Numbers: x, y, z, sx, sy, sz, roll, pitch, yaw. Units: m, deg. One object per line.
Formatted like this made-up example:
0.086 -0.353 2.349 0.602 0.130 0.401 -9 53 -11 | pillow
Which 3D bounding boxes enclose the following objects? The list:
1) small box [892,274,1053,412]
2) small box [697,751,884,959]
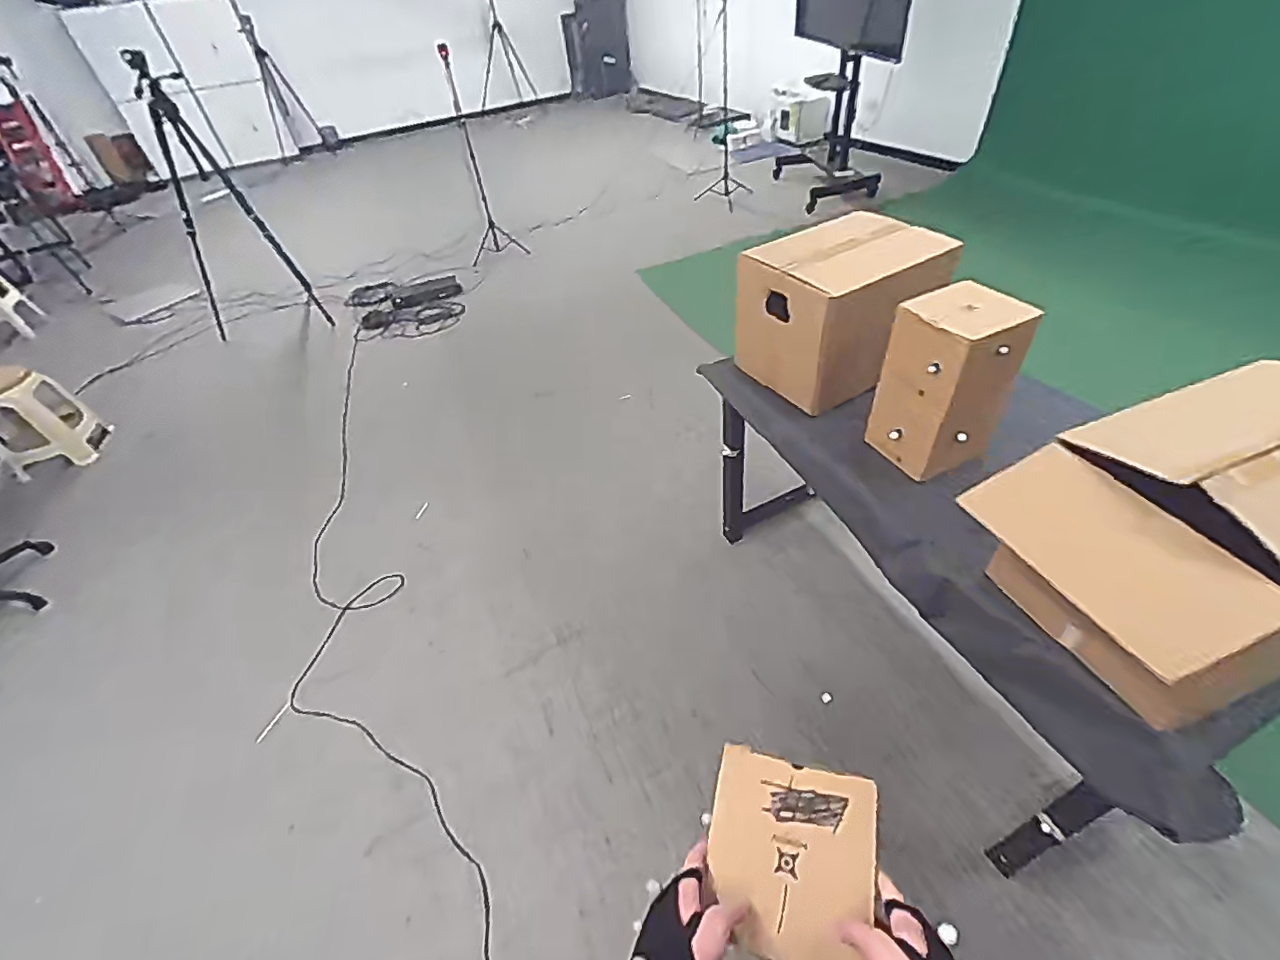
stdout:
0.595 -0.251 0.999 0.179 0.176 0.168 -22 47 -15 | small box
0.165 0.429 0.601 0.168 0.176 0.179 8 57 16 | small box
